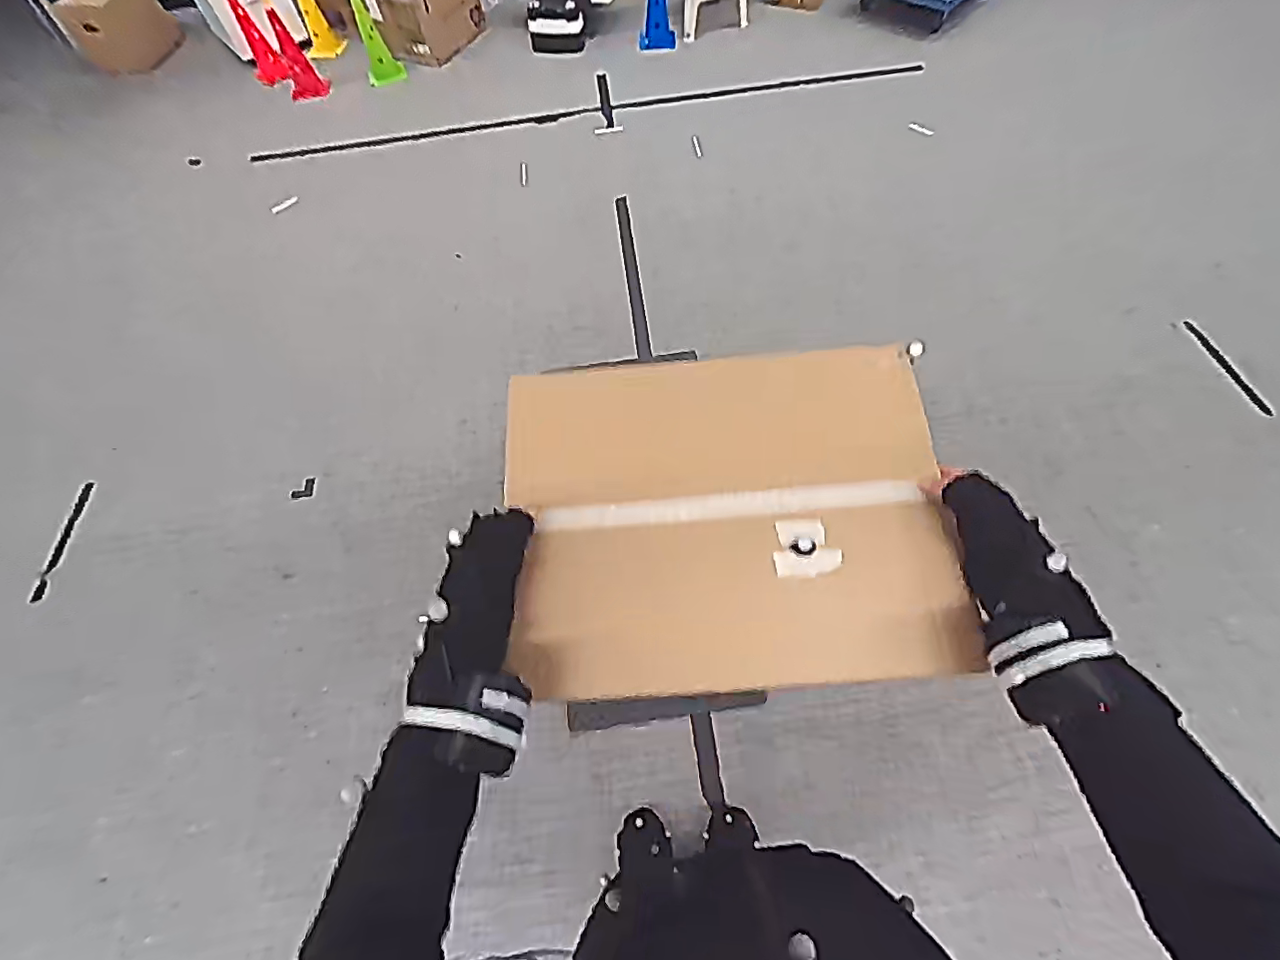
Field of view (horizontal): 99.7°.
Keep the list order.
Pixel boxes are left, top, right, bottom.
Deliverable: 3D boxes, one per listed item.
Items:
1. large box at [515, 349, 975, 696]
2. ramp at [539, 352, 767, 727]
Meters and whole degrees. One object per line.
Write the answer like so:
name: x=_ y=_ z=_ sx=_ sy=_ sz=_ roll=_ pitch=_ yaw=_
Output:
large box: x=0.085 y=0.076 z=0.654 sx=0.408 sy=0.320 sz=0.320 roll=-5 pitch=70 yaw=2
ramp: x=0.006 y=0.109 z=1.498 sx=0.509 sy=0.206 sz=0.991 roll=-10 pitch=61 yaw=-2
